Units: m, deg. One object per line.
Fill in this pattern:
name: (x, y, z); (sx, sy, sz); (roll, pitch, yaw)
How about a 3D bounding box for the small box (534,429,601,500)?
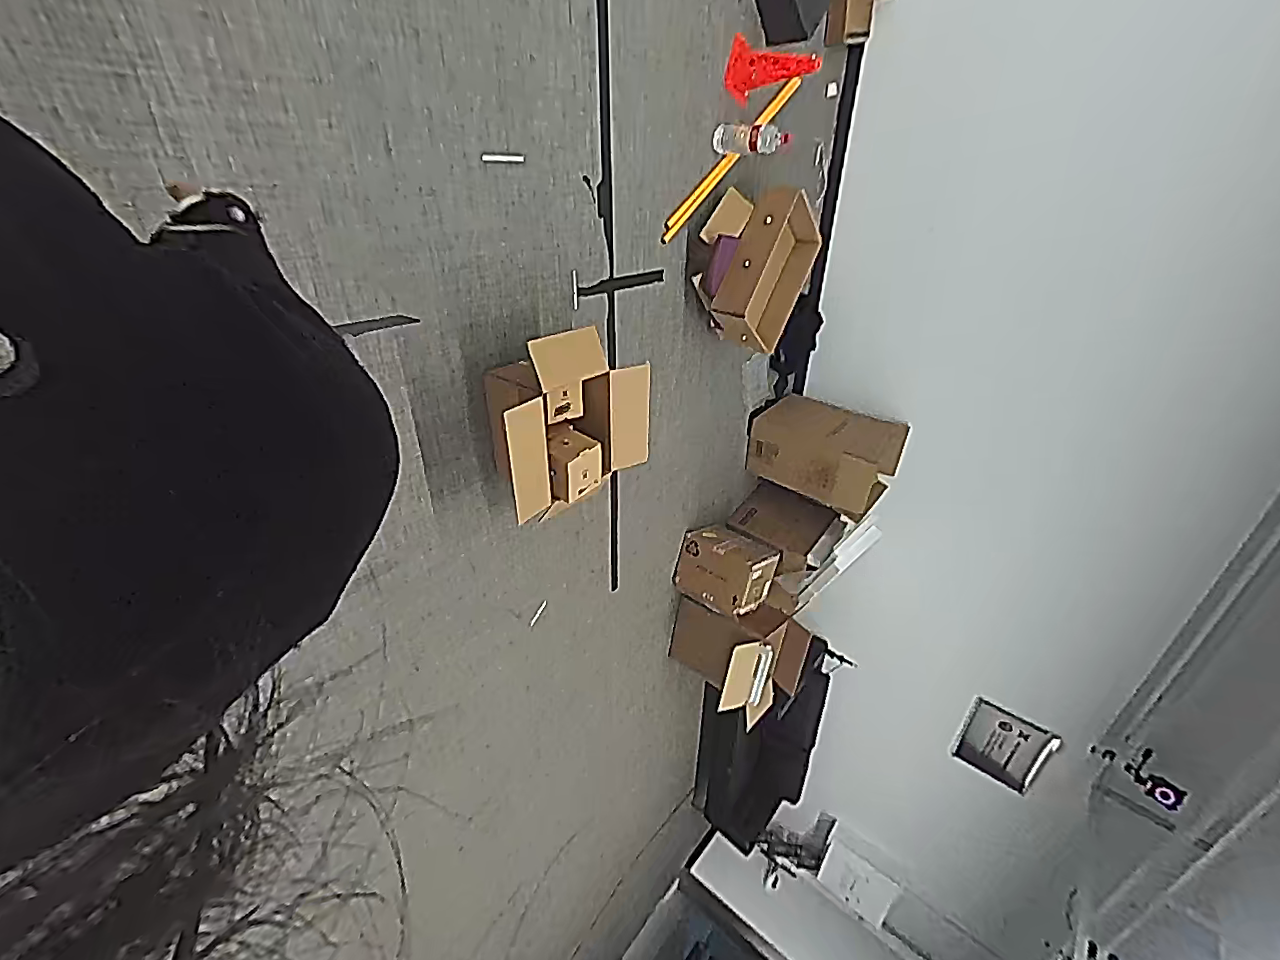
small box: (-0.255, -0.063, 1.892); (0.168, 0.176, 0.179); (-34, 139, -40)
